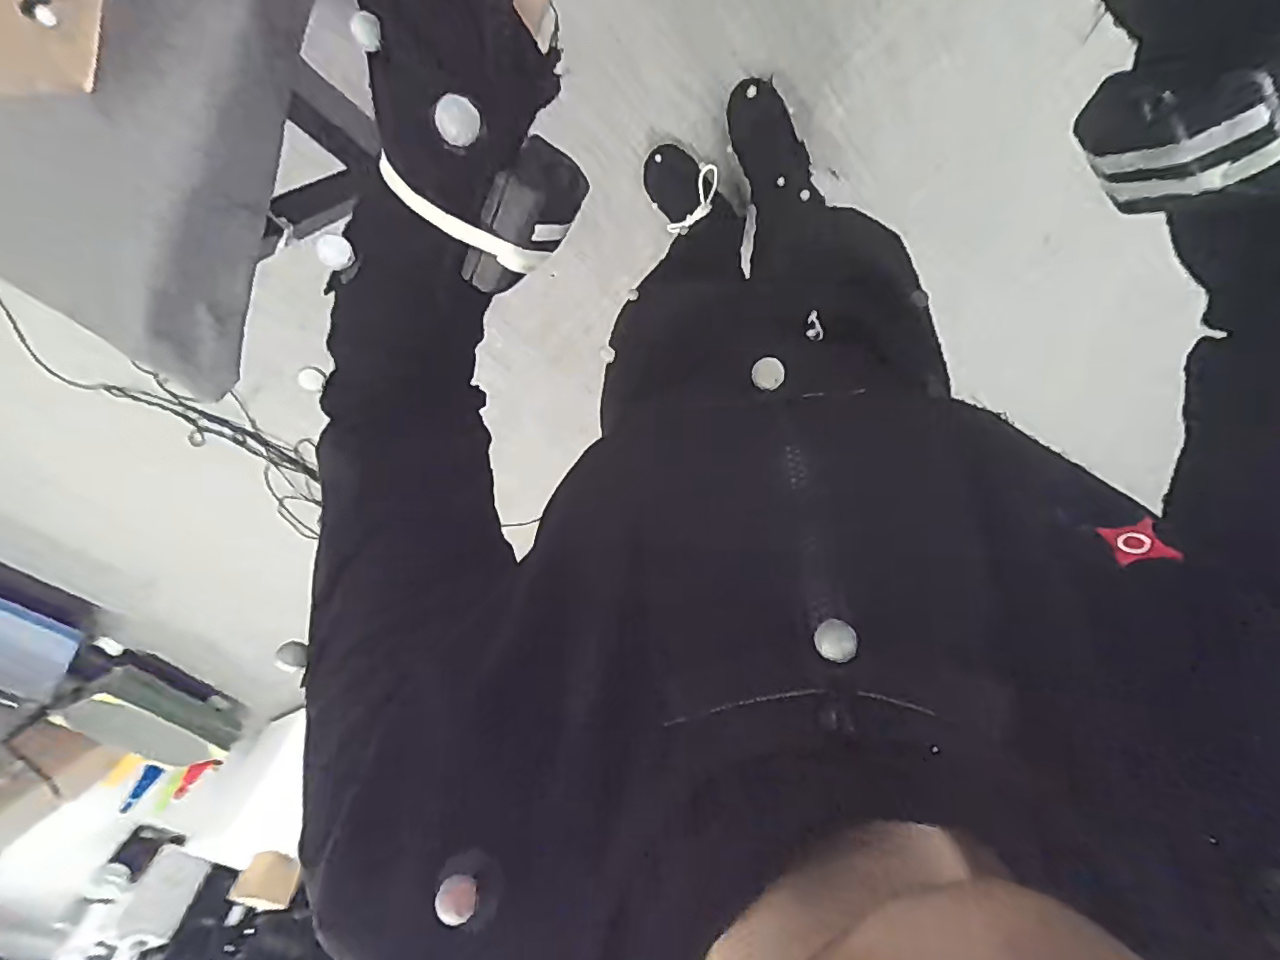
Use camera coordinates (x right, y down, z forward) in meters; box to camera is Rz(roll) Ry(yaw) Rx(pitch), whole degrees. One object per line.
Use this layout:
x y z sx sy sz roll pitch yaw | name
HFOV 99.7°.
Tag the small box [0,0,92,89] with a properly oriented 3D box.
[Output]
-0.491 -0.366 0.321 0.179 0.176 0.168 34 124 -21 | small box
